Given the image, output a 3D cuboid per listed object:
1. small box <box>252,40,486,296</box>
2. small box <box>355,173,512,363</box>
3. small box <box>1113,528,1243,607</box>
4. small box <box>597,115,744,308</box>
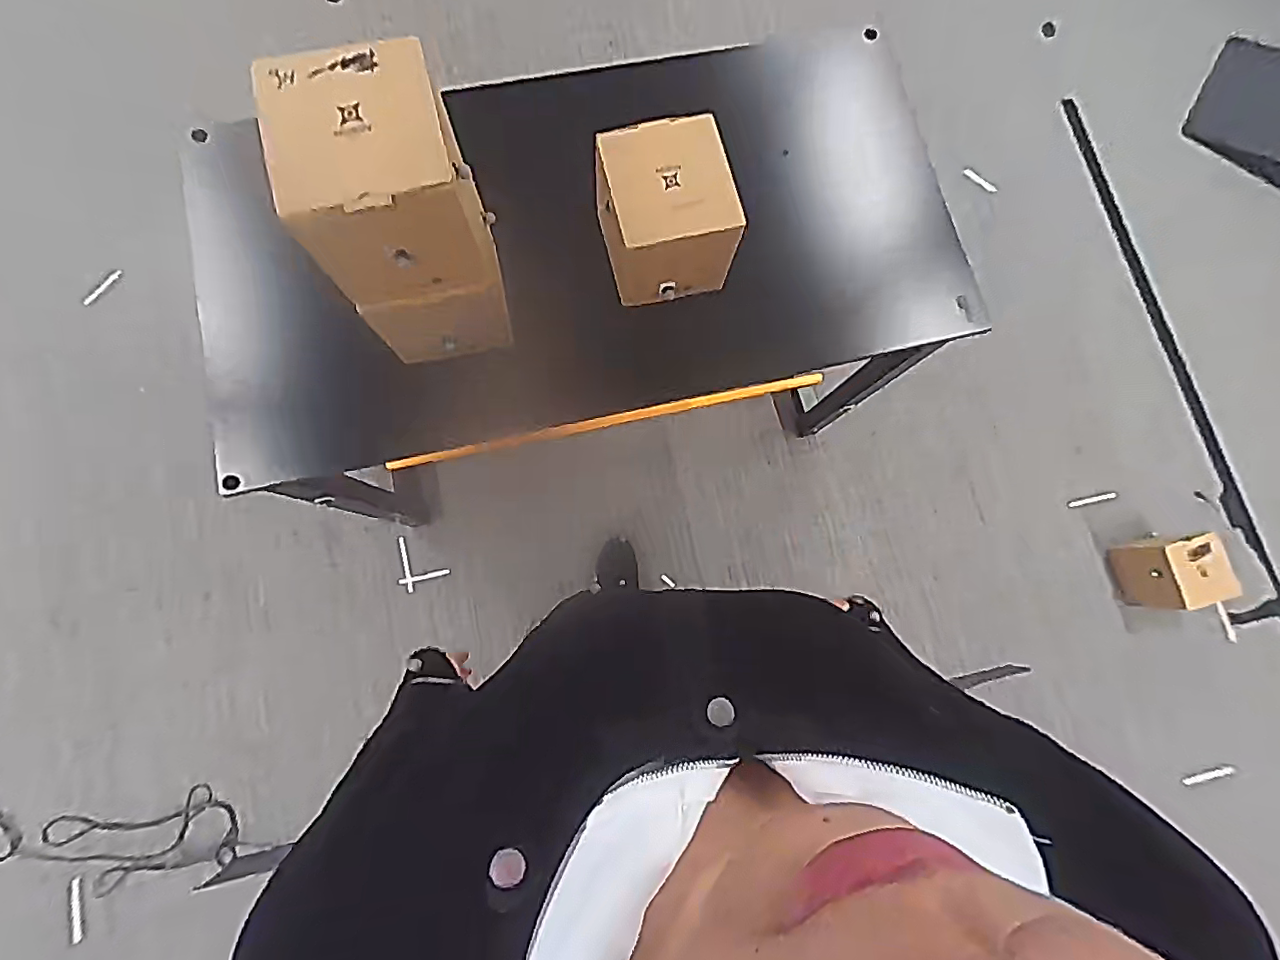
[{"bbox_3d":[-0.282,-0.325,0.600,0.168,0.176,0.179,-14,81,-6],"label":"small box"},{"bbox_3d":[-0.286,-0.288,0.760,0.168,0.176,0.179,-12,81,-5],"label":"small box"},{"bbox_3d":[1.477,0.243,1.500,0.168,0.176,0.179,-14,82,-5],"label":"small box"},{"bbox_3d":[0.035,-0.385,0.797,0.168,0.176,0.179,-14,82,-4],"label":"small box"}]
